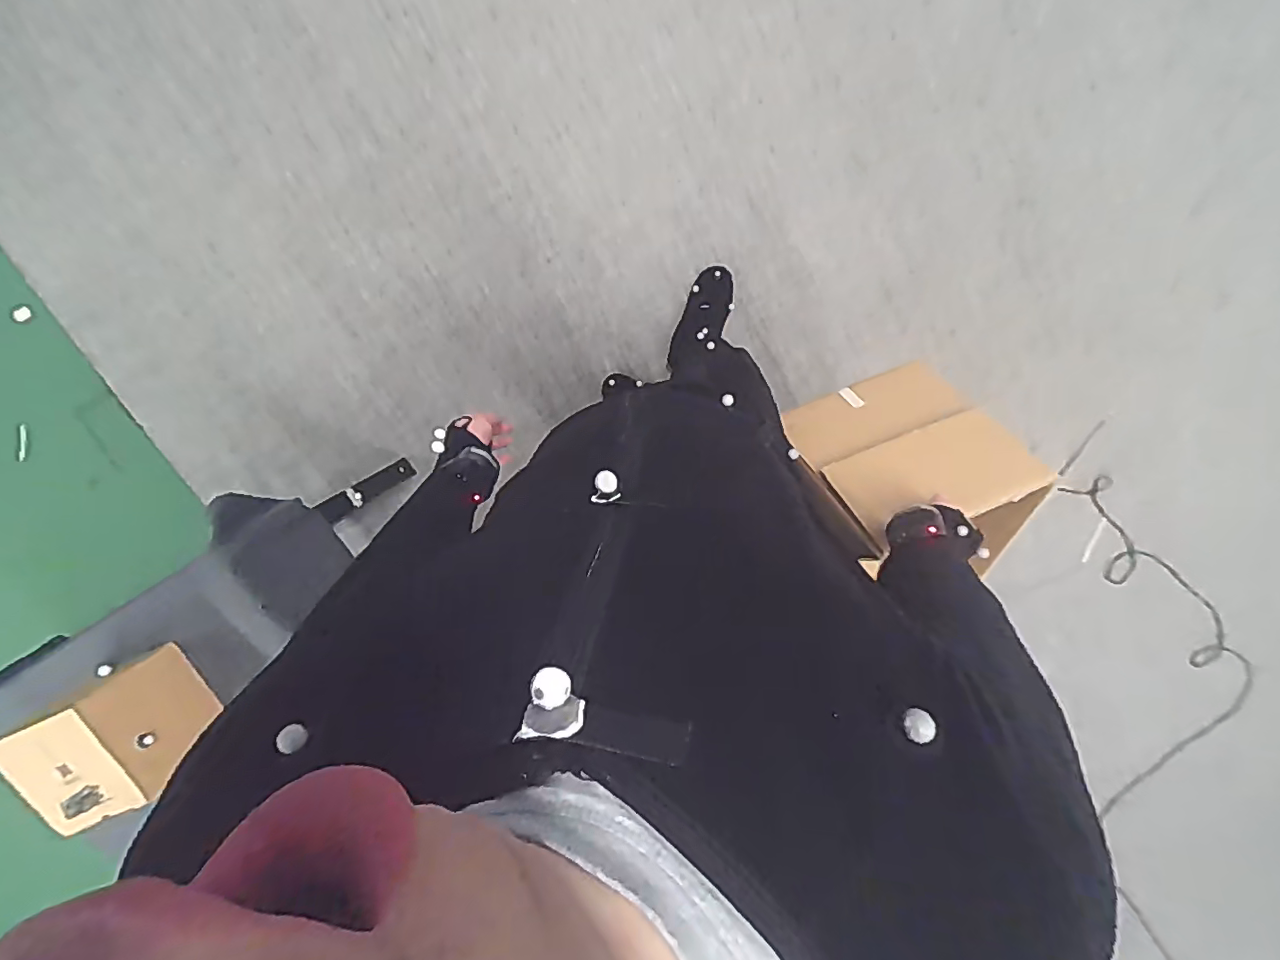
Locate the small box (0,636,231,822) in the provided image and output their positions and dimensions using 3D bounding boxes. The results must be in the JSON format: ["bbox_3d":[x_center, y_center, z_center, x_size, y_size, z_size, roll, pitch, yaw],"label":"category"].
[{"bbox_3d":[-0.807,0.382,0.849,0.168,0.176,0.179,-23,104,8],"label":"small box"}]
